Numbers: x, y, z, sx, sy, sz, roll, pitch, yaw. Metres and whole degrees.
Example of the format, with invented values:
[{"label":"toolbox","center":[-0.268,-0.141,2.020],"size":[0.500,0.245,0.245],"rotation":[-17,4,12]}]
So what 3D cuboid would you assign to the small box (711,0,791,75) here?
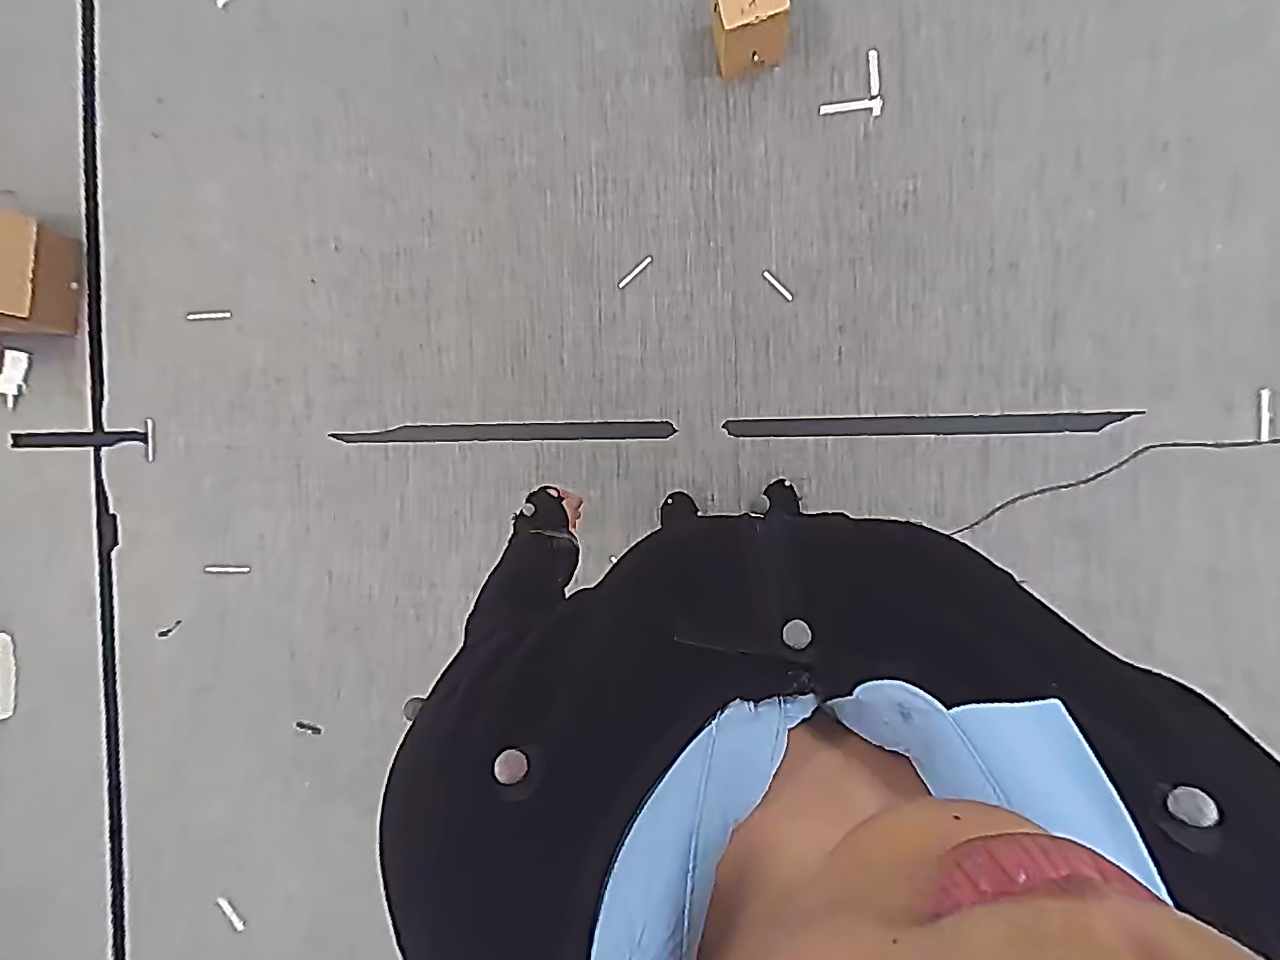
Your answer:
[{"label":"small box","center":[0.281,-1.210,1.397],"size":[0.168,0.176,0.179],"rotation":[-13,89,8]}]
